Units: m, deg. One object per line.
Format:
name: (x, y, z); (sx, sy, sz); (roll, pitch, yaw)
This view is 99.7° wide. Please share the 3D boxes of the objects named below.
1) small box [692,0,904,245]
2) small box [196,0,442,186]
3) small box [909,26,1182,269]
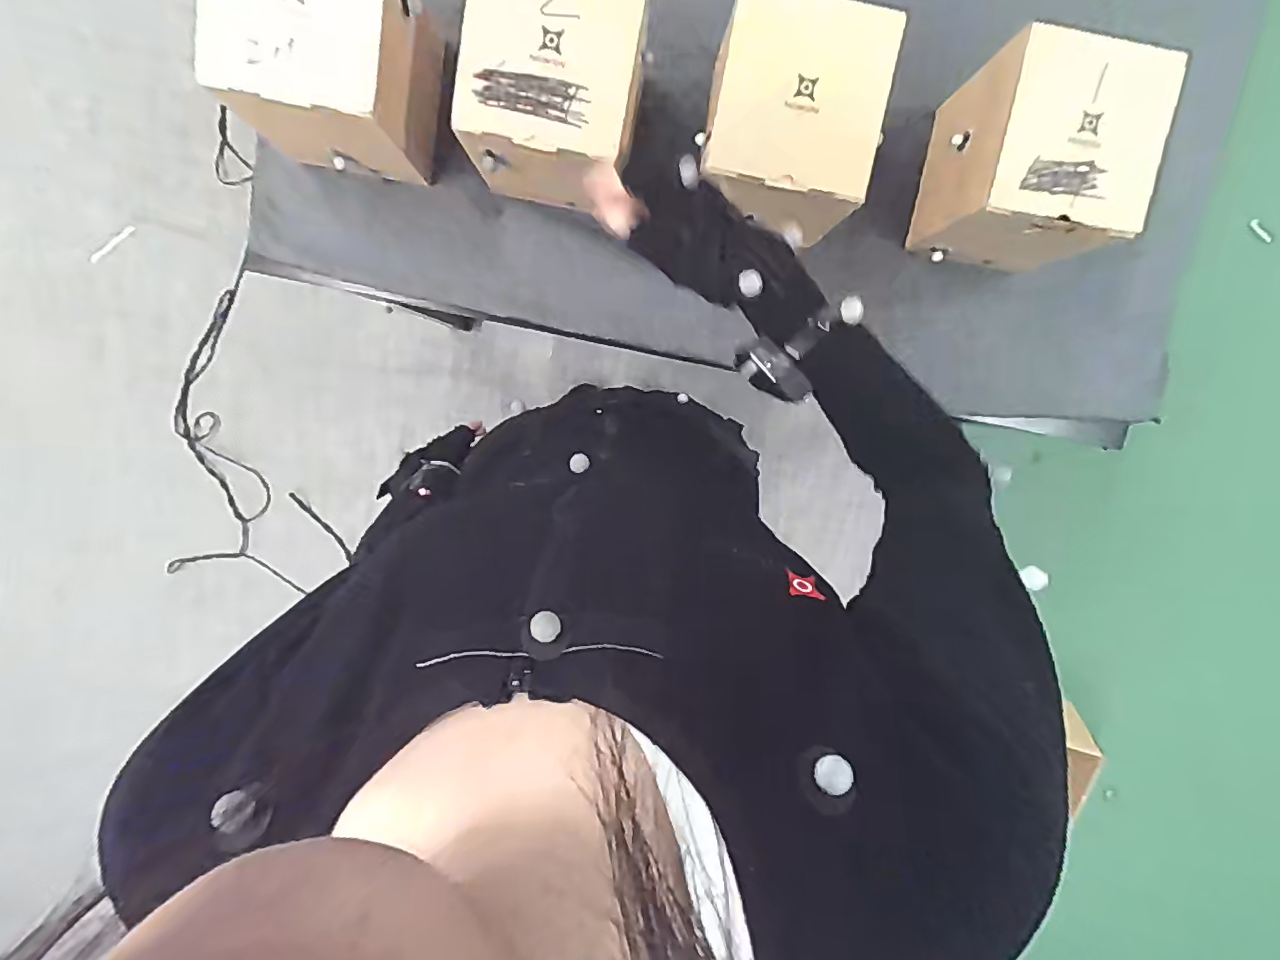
small box: (0.160, -0.390, 0.611); (0.168, 0.176, 0.179); (9, 99, -4)
small box: (-0.323, -0.451, 0.578); (0.168, 0.176, 0.179); (9, 97, -4)
small box: (0.441, -0.358, 0.622); (0.168, 0.176, 0.179); (9, 98, -3)
